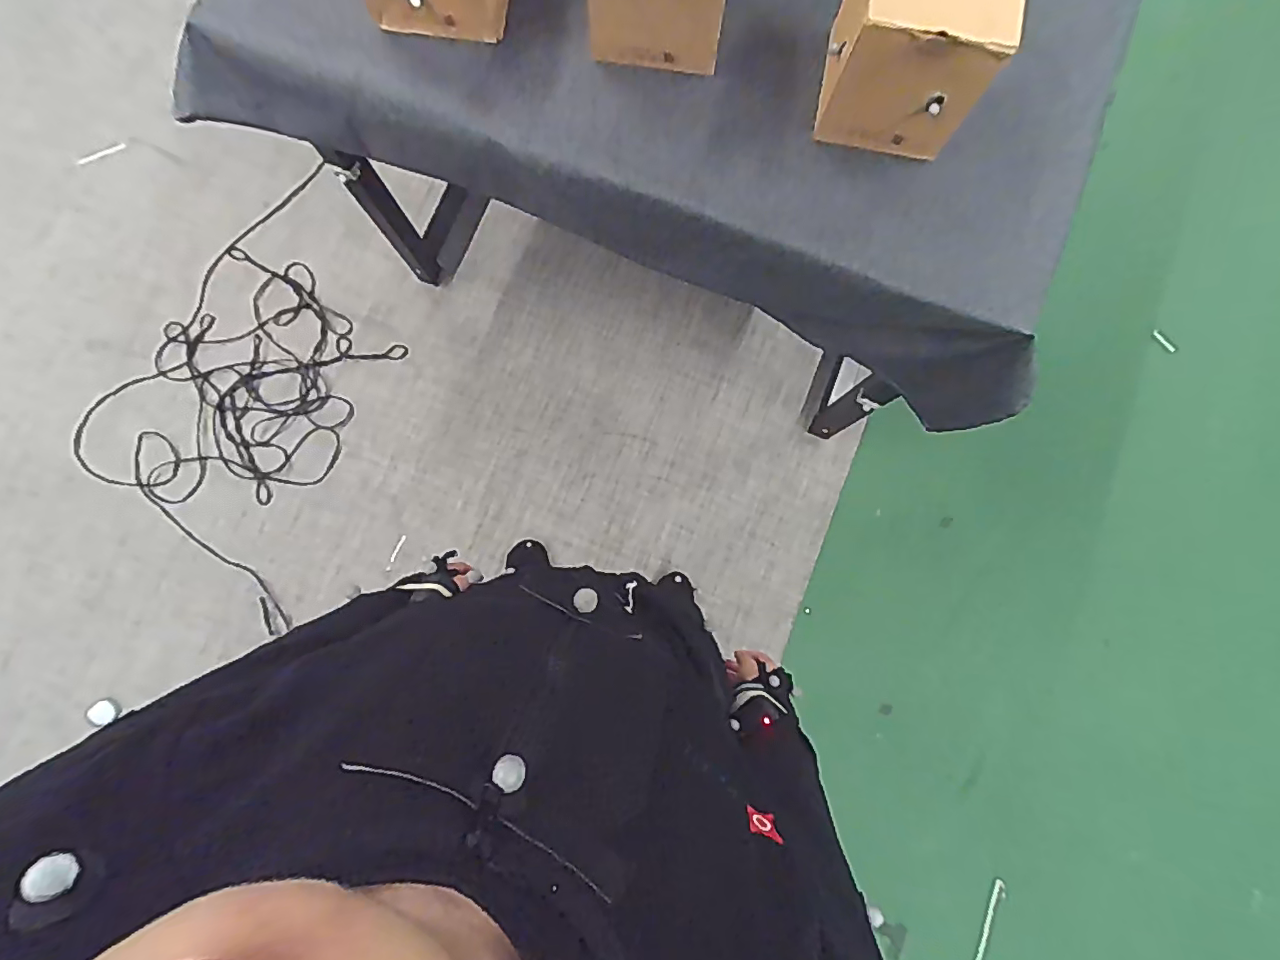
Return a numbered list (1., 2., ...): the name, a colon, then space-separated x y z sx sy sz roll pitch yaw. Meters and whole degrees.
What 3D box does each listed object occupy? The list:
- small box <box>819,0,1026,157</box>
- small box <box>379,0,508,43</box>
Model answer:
1. small box: 0.330 -0.533 0.654 0.168 0.176 0.179 11 81 -1
2. small box: -0.256 -0.699 0.665 0.168 0.176 0.179 7 83 -1
